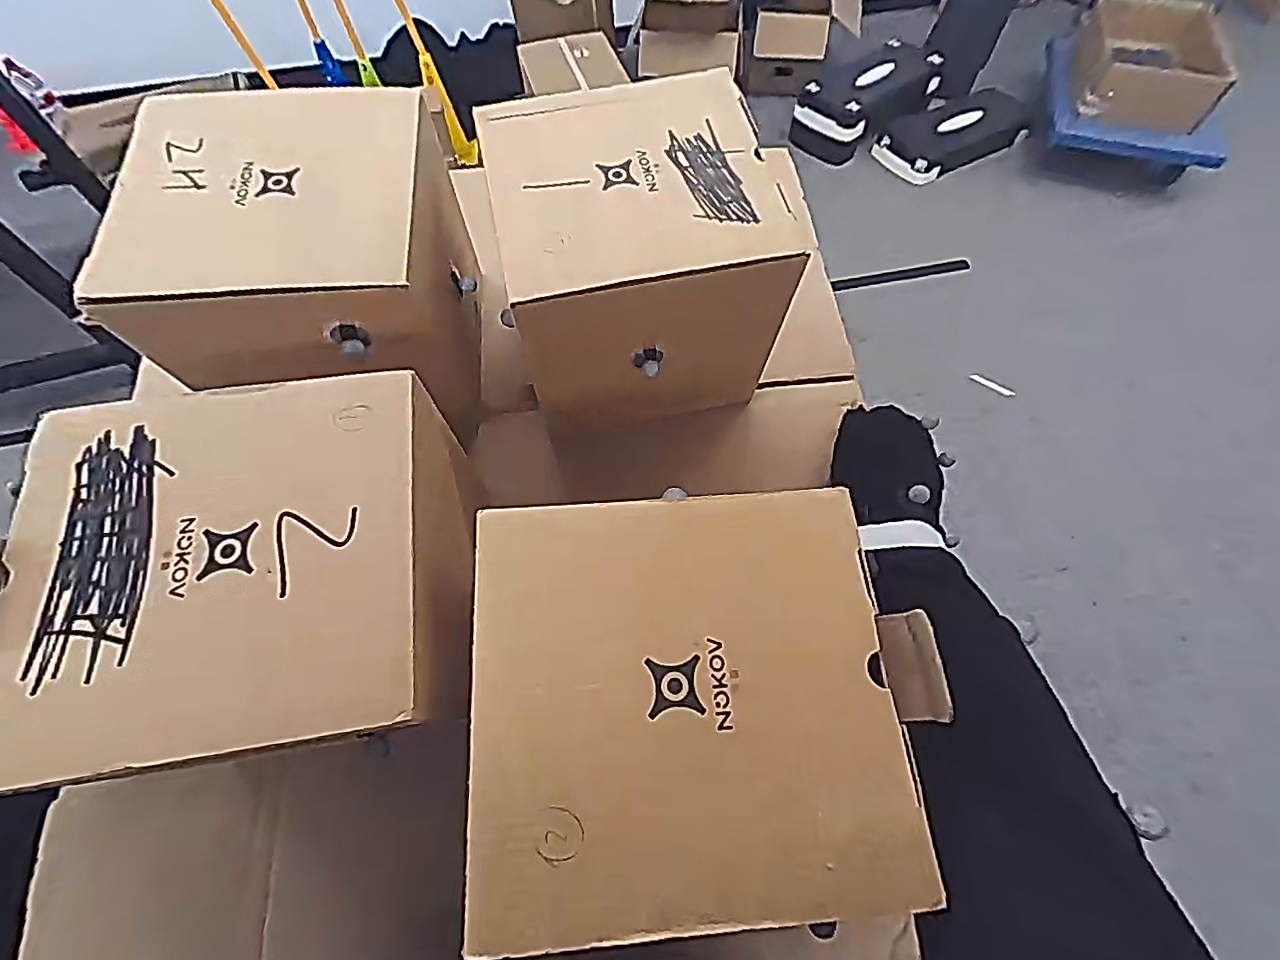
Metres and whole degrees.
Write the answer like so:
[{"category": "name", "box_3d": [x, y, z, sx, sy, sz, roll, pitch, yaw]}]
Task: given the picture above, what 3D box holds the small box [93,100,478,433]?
[{"category": "small box", "box_3d": [-0.228, -0.147, 0.408, 0.179, 0.176, 0.168, -4, 68, -3]}]
